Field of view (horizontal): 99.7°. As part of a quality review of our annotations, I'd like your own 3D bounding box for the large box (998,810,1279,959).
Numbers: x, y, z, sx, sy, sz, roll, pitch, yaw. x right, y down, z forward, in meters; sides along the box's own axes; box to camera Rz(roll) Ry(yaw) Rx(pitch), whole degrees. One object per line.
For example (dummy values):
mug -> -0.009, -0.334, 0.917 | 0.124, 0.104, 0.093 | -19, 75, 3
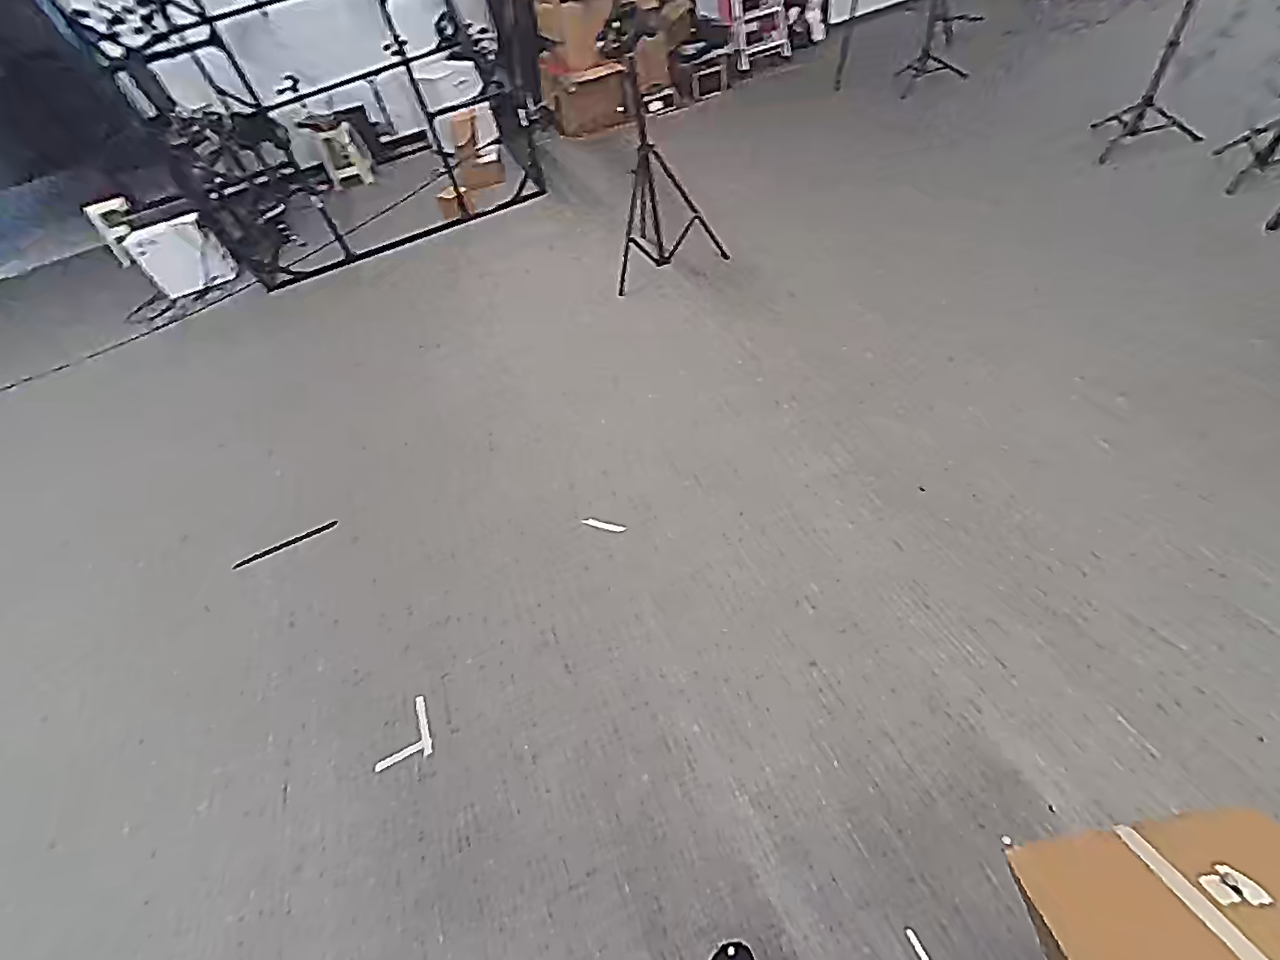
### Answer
large box -> 0.673, 0.635, 0.559 | 0.320, 0.408, 0.320 | -20, 84, 12
